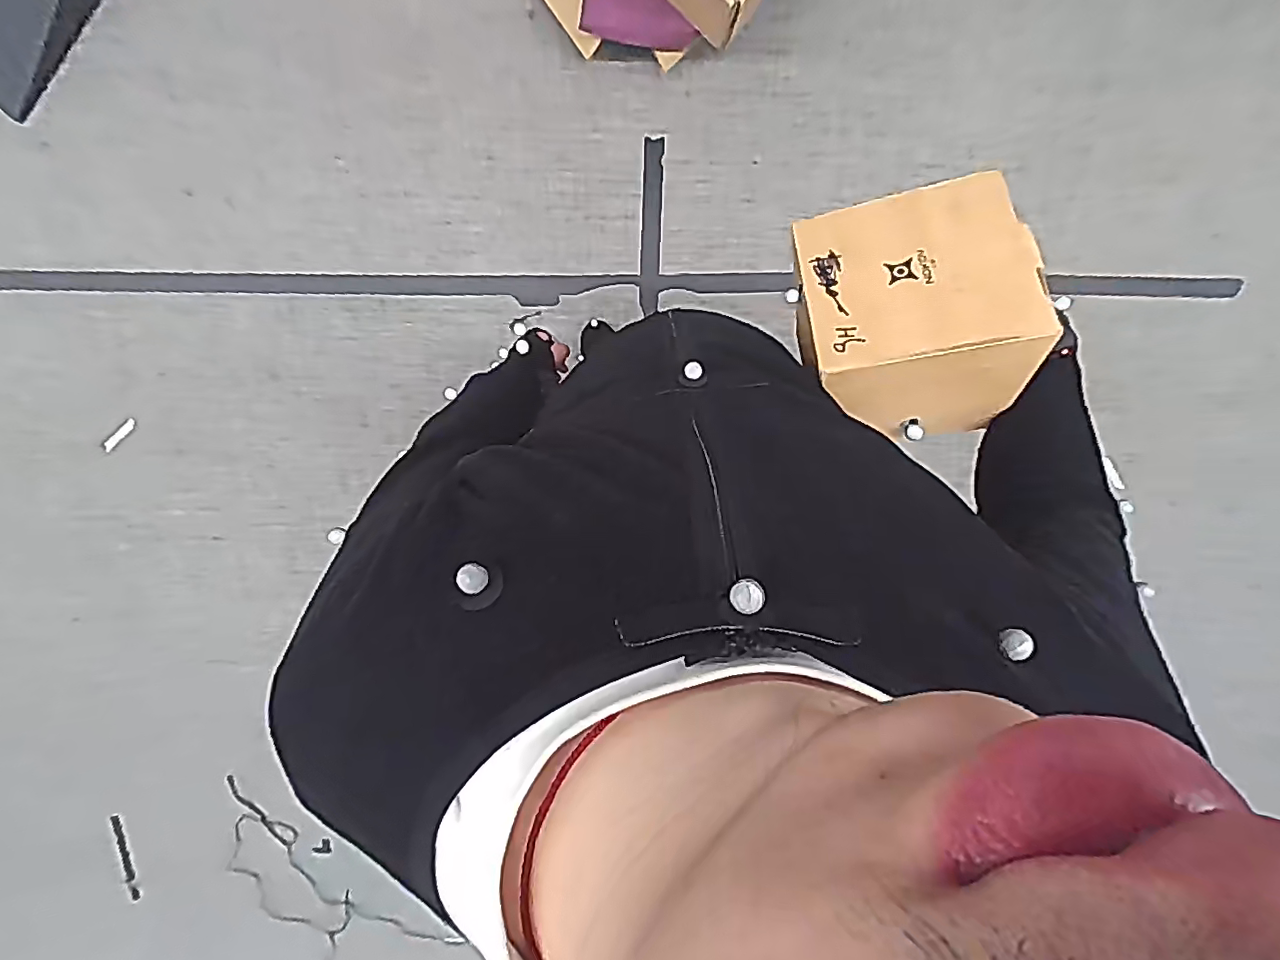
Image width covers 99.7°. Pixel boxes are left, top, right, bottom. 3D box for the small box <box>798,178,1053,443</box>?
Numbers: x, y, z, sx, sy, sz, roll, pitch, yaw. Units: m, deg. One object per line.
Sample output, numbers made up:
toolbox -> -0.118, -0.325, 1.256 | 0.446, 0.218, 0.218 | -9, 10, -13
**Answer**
small box -> 0.257, -0.151, 0.537 | 0.179, 0.176, 0.168 | -8, 67, 15
